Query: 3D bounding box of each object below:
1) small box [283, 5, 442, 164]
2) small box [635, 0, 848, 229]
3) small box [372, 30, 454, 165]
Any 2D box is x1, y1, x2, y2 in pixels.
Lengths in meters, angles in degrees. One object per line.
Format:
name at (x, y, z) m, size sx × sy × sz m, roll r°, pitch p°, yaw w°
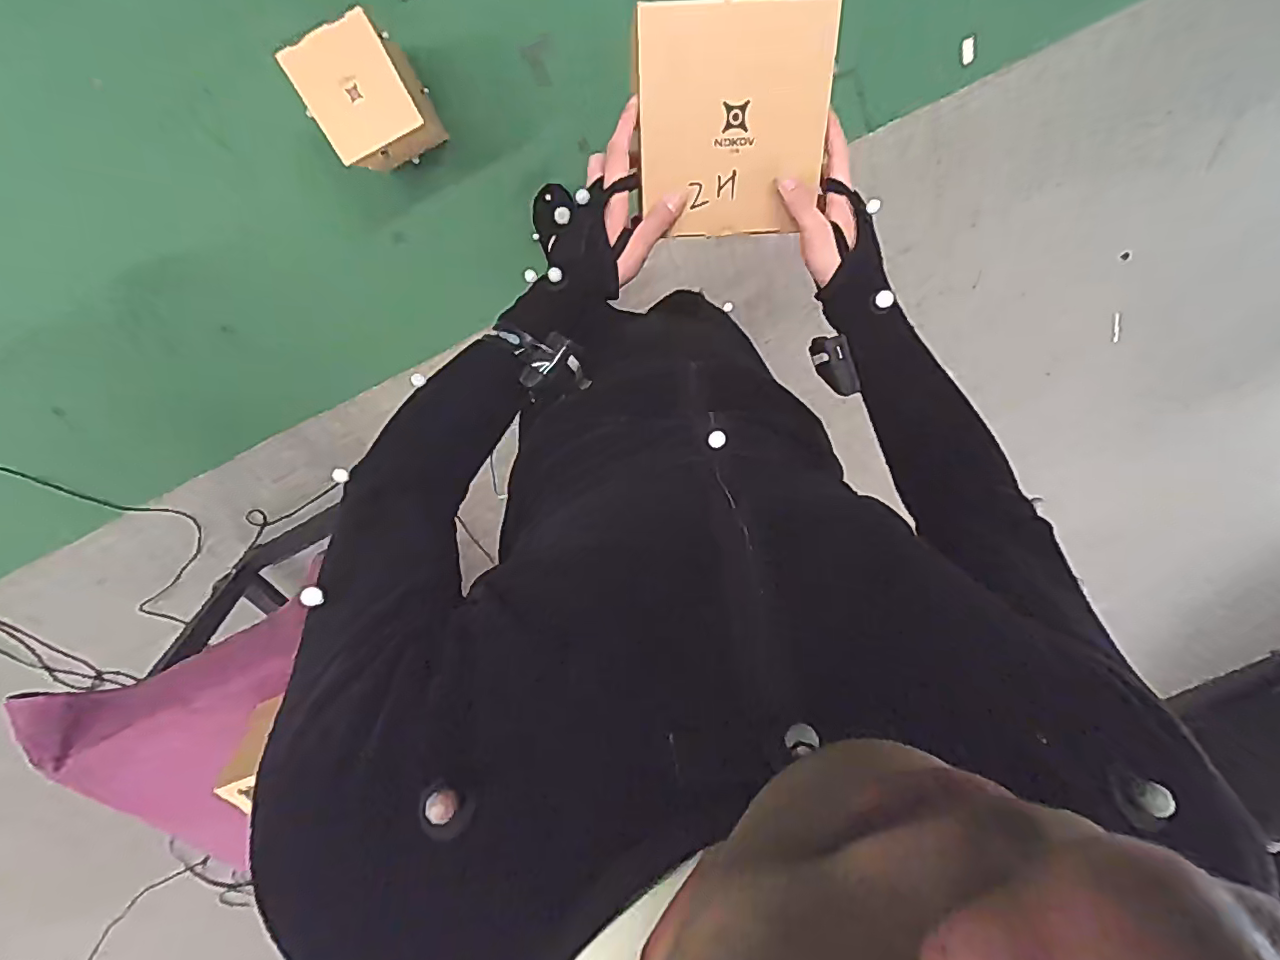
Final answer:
small box at (-0.486, -0.703, 0.983) m, size 0.168 × 0.176 × 0.179 m, roll -25°, pitch 119°, yaw 5°
small box at (0.081, -0.357, 0.534) m, size 0.168 × 0.176 × 0.179 m, roll -3°, pitch 124°, yaw -1°
small box at (-0.513, -0.779, 1.123) m, size 0.168 × 0.176 × 0.179 m, roll -25°, pitch 120°, yaw 5°
